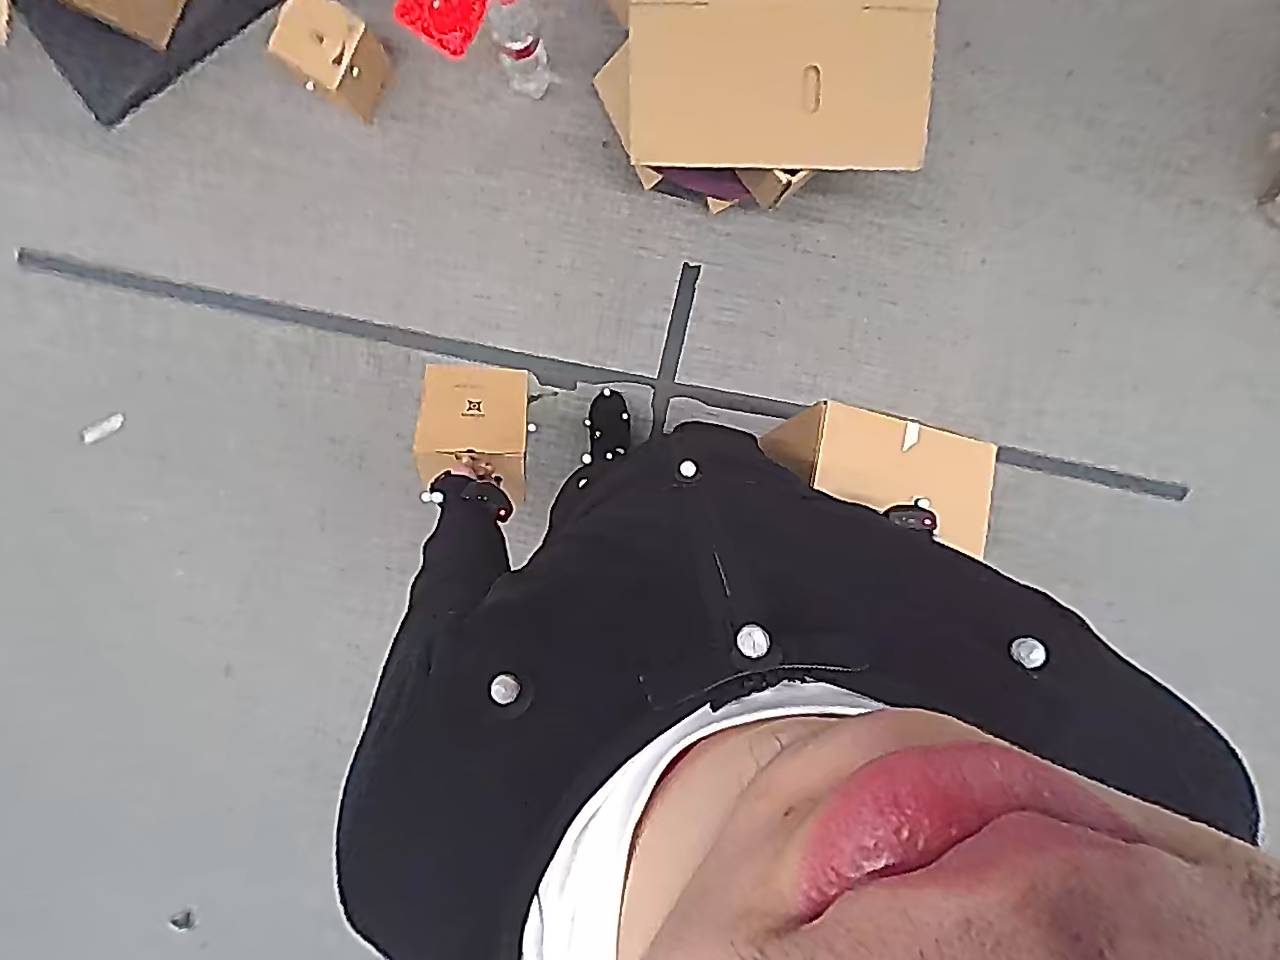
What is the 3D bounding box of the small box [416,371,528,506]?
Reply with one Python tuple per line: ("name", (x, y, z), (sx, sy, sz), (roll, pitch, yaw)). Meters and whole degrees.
("small box", (-0.281, -0.065, 0.939), (0.168, 0.176, 0.179), (1, 58, -13))
